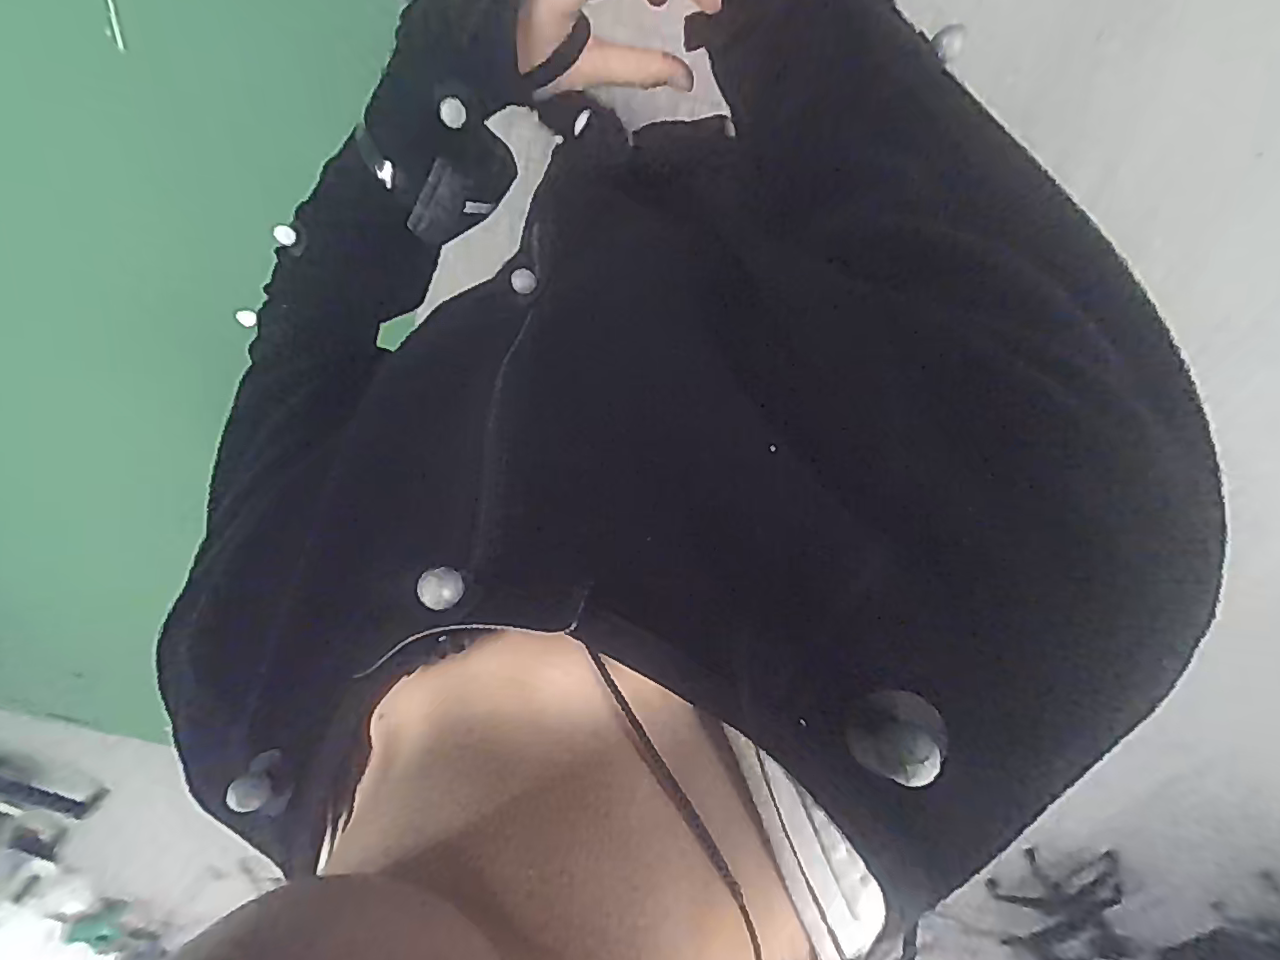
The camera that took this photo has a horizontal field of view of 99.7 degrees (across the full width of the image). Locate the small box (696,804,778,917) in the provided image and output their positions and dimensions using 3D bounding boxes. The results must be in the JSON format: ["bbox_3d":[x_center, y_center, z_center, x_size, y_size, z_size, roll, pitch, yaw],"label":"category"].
[{"bbox_3d":[0.228,0.895,1.277,0.168,0.176,0.179,-8,121,10],"label":"small box"}]
